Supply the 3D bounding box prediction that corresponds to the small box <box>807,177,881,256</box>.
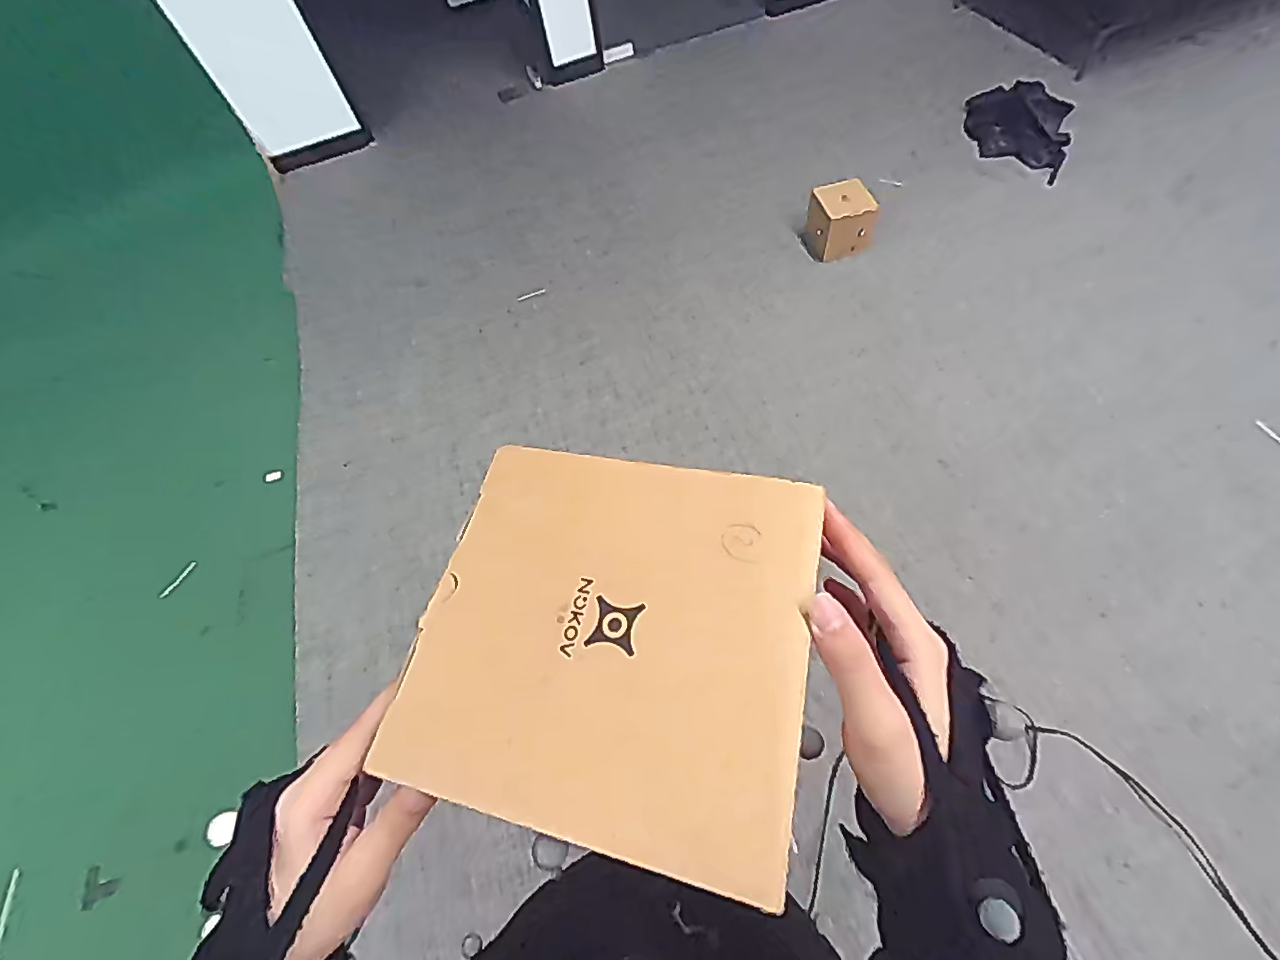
[{"bbox_3d":[0.684,-0.885,1.833,0.168,0.176,0.179,-14,59,-2],"label":"small box"}]
